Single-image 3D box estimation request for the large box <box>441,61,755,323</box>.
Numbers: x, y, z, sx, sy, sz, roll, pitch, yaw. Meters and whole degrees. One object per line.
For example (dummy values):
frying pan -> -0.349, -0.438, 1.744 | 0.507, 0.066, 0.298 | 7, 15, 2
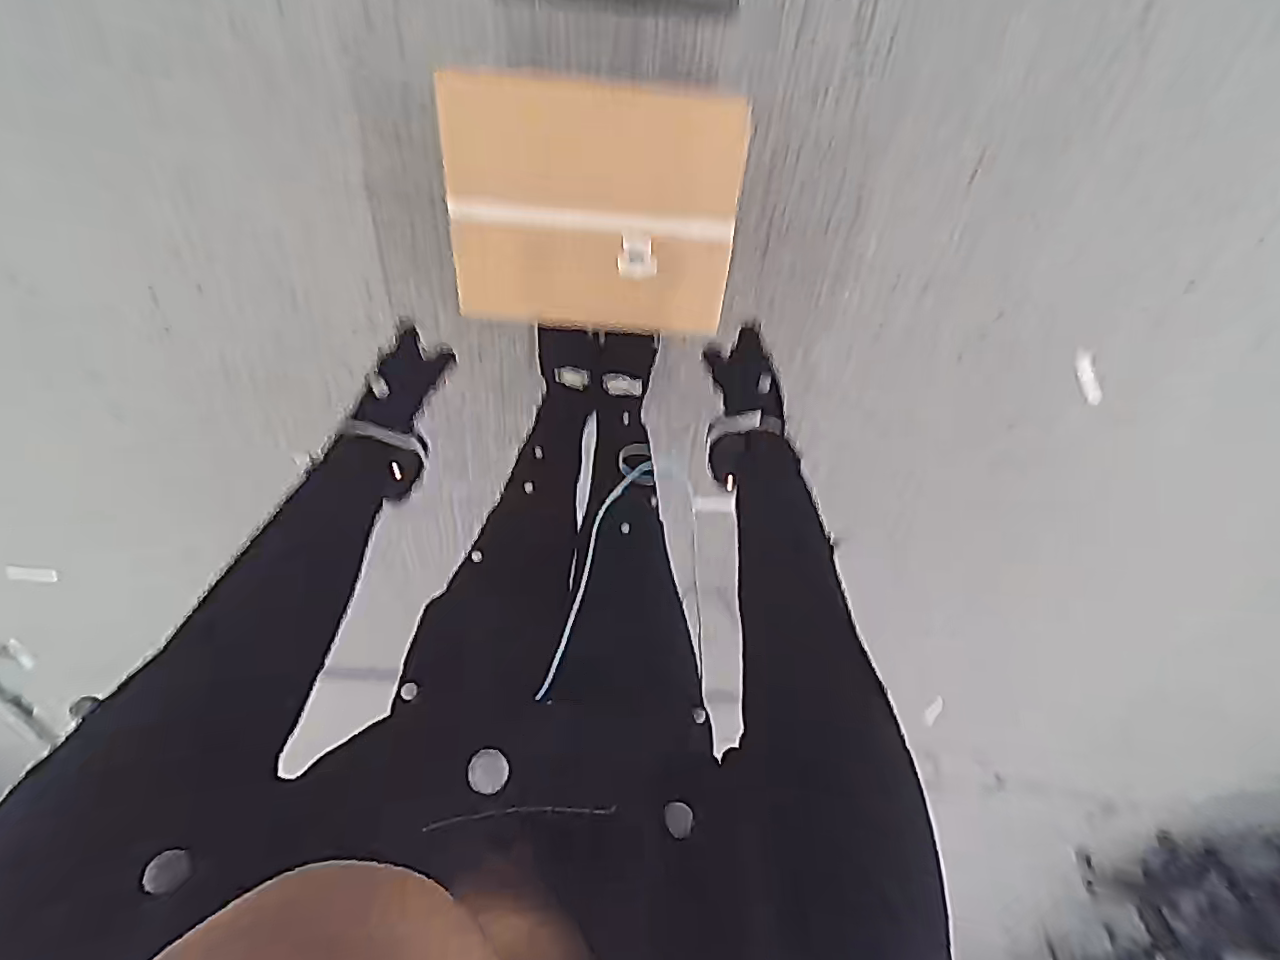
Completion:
large box -> -0.064, -0.470, 0.885 | 0.408, 0.320, 0.320 | 3, 127, -3
